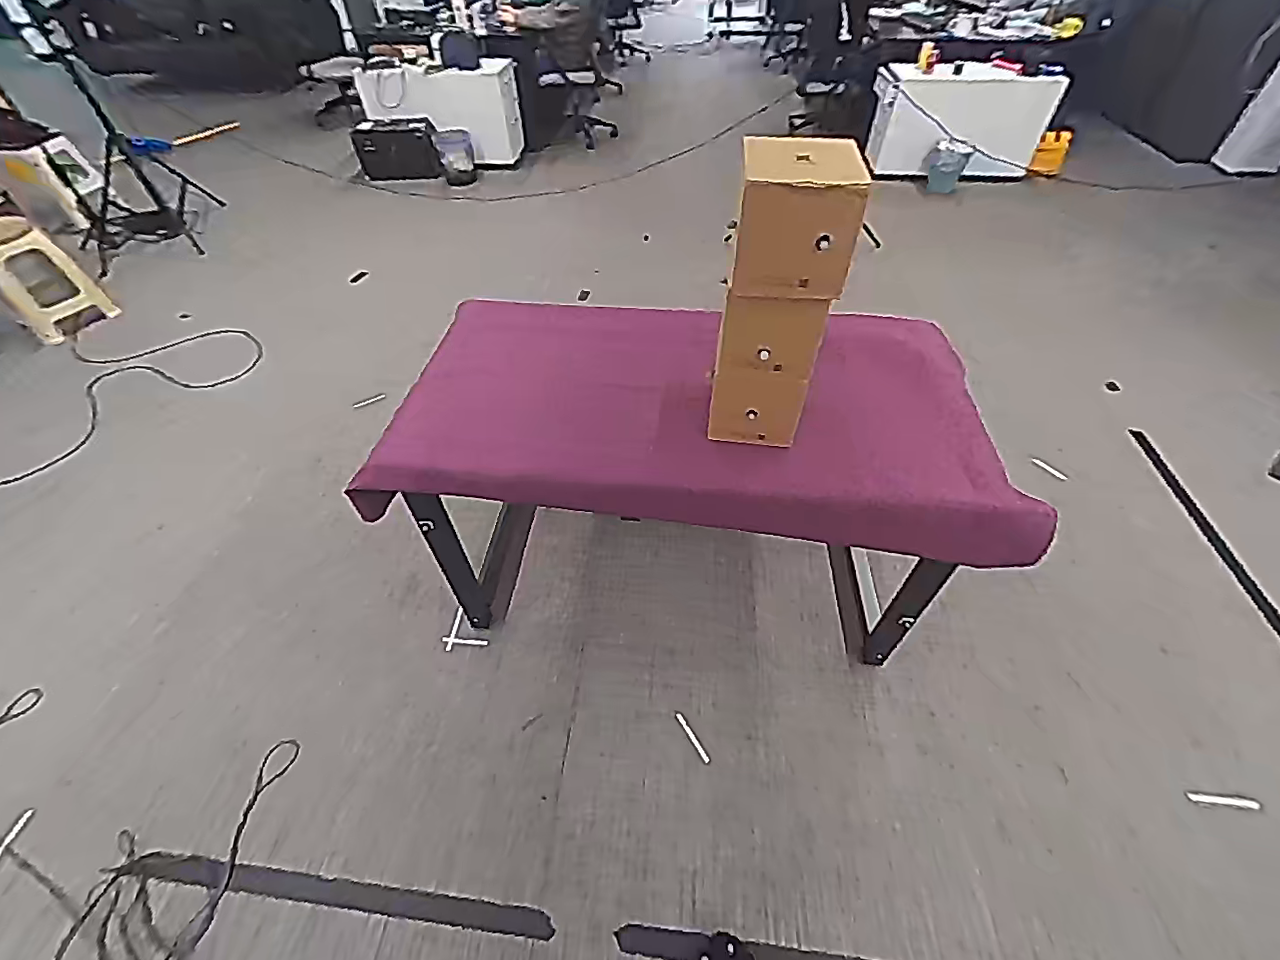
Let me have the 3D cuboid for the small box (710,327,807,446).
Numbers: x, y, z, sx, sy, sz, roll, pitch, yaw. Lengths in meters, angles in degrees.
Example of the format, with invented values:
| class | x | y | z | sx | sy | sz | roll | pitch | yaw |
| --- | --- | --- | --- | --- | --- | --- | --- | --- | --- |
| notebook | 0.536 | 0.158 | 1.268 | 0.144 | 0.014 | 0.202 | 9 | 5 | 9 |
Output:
| class | x | y | z | sx | sy | sz | roll | pitch | yaw |
| --- | --- | --- | --- | --- | --- | --- | --- | --- | --- |
| small box | 0.231 | -0.187 | 1.073 | 0.168 | 0.176 | 0.179 | 7 | 48 | 6 |

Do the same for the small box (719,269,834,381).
| class | x | y | z | sx | sy | sz | roll | pitch | yaw |
| --- | --- | --- | --- | --- | --- | --- | --- | --- | --- |
| small box | 0.233 | -0.299 | 0.953 | 0.168 | 0.176 | 0.179 | 6 | 49 | 6 |

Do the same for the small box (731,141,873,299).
| class | x | y | z | sx | sy | sz | roll | pitch | yaw |
| --- | --- | --- | --- | --- | --- | --- | --- | --- | --- |
| small box | 0.230 | -0.391 | 0.817 | 0.168 | 0.176 | 0.179 | 4 | 48 | 4 |
